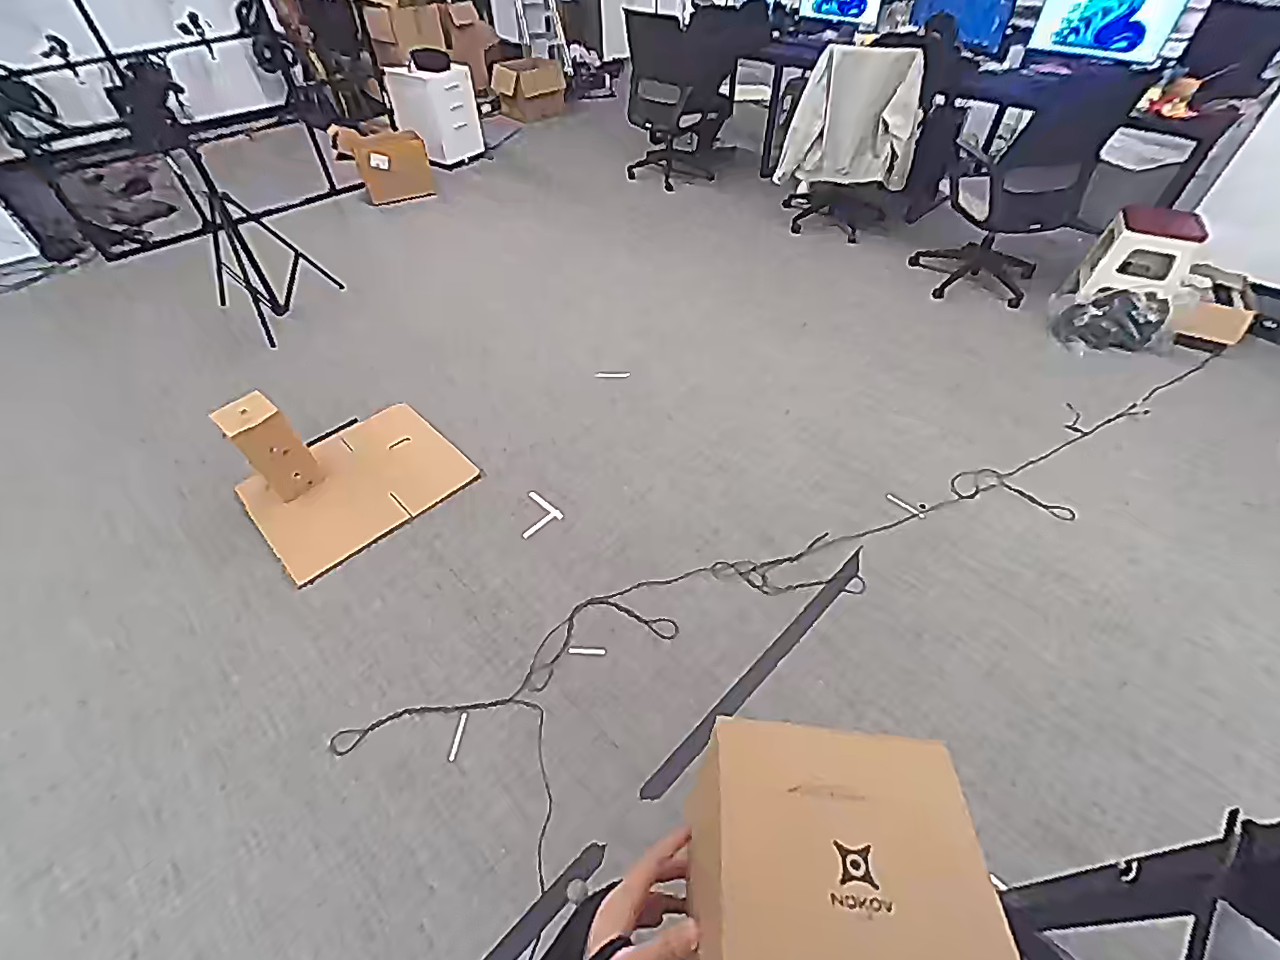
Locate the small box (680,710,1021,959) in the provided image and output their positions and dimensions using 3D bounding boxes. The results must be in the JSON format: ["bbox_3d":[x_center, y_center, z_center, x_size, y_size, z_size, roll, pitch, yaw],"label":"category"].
[{"bbox_3d":[0.121,0.289,0.370,0.168,0.176,0.179,7,39,0],"label":"small box"}]

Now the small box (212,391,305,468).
[{"bbox_3d":[-1.294,-0.169,1.842,0.179,0.176,0.168,31,57,26],"label":"small box"}]

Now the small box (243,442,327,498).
[{"bbox_3d":[-1.286,-0.061,1.966,0.179,0.176,0.168,30,55,25],"label":"small box"}]
